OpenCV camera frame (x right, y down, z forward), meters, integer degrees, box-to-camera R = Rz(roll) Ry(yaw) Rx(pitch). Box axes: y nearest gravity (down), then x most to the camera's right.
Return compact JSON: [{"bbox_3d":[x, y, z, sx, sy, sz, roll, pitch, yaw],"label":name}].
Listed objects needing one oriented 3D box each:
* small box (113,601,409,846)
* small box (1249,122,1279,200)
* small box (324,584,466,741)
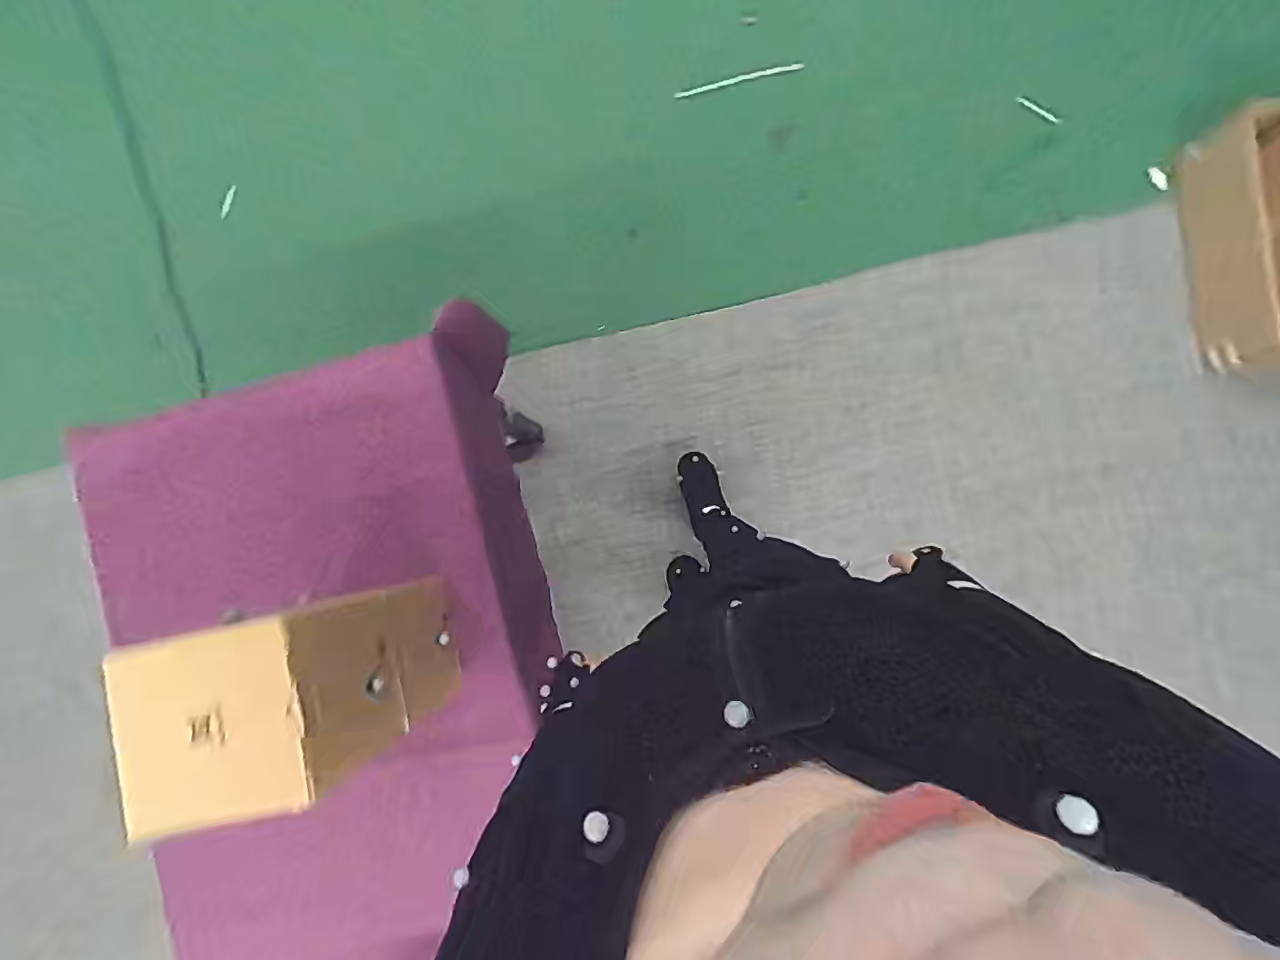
[{"bbox_3d":[-0.372,0.233,0.559,0.179,0.176,0.168,-14,86,2],"label":"small box"},{"bbox_3d":[1.671,-0.814,1.332,0.179,0.176,0.168,-3,88,4],"label":"small box"},{"bbox_3d":[-0.360,0.245,0.722,0.179,0.176,0.168,-14,86,3],"label":"small box"}]
